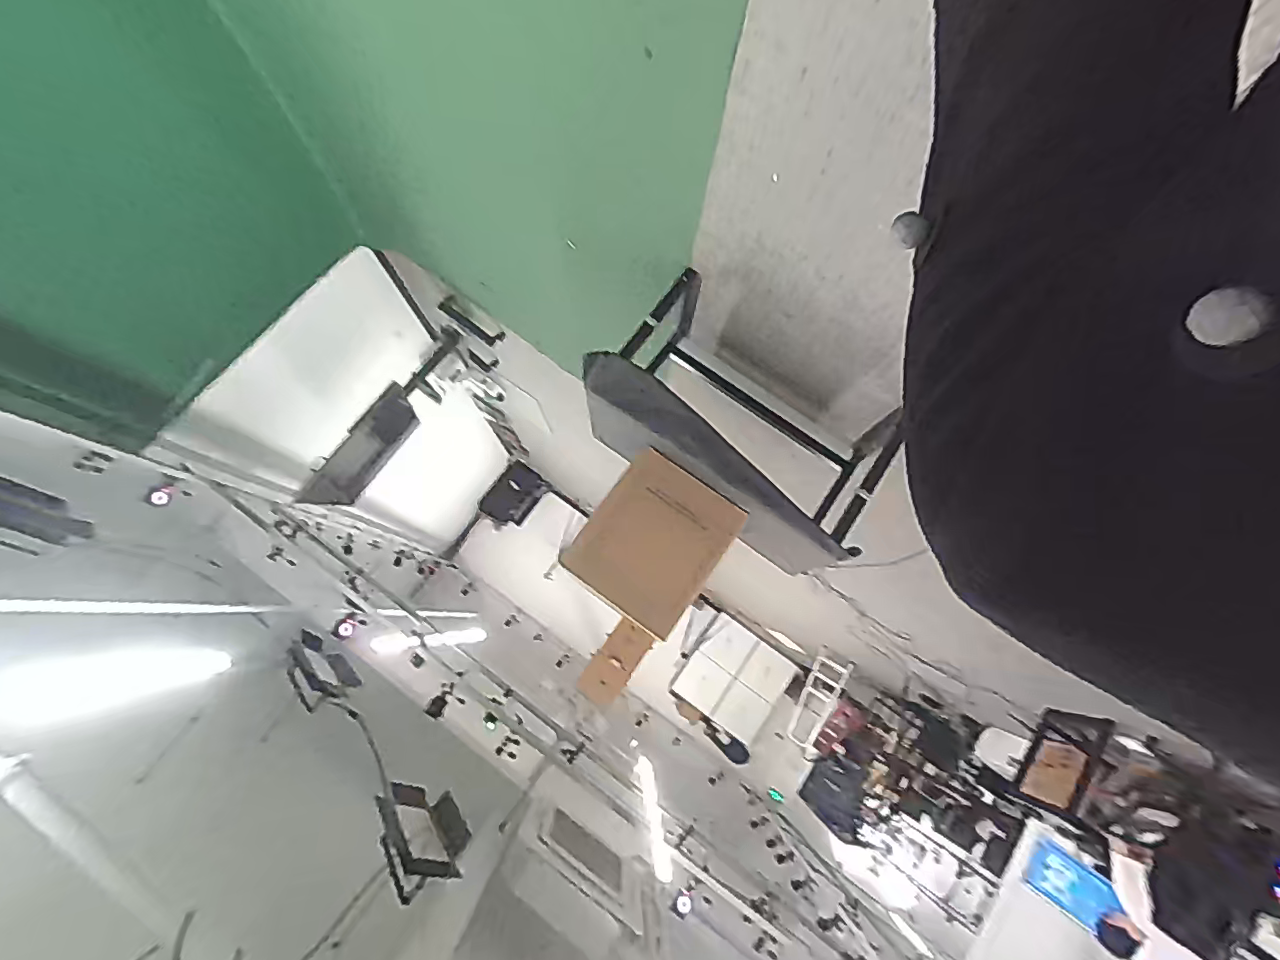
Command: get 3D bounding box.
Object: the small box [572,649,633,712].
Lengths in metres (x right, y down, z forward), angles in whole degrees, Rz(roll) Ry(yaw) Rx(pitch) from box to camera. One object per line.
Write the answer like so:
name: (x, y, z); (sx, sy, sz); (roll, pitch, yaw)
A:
small box: (-0.150, 0.790, 2.150); (0.179, 0.176, 0.168); (34, 165, 7)

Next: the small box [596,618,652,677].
small box: (-0.064, 0.677, 2.194); (0.168, 0.176, 0.179); (34, 164, 7)
